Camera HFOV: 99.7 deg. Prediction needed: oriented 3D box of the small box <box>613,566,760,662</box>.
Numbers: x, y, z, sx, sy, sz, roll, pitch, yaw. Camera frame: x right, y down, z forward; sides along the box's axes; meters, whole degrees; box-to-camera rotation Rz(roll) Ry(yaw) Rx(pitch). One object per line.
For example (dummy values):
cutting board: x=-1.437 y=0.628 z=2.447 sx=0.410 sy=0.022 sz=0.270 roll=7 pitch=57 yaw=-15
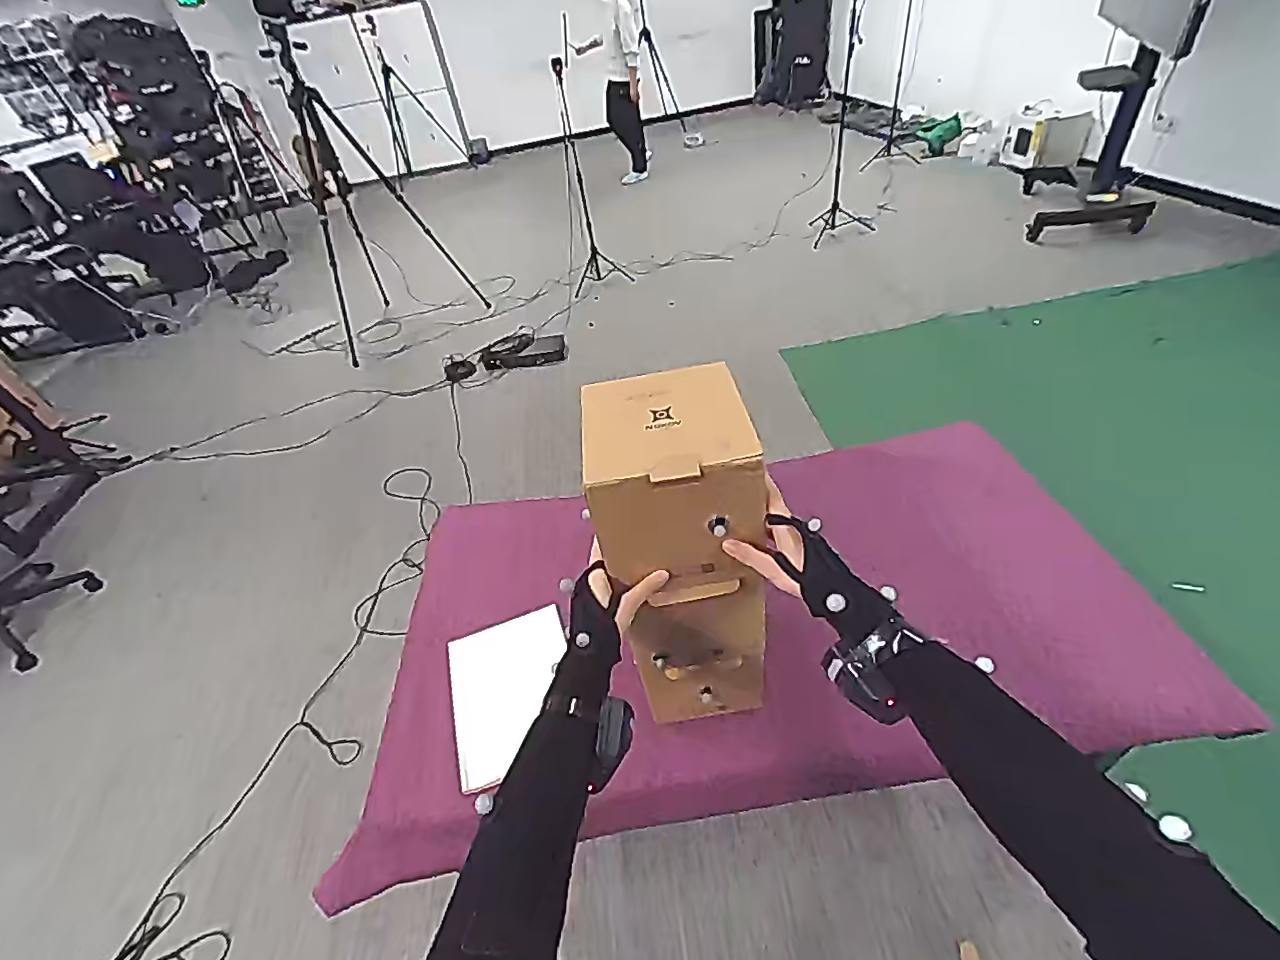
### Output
small box: x=0.058 y=0.119 z=0.707 sx=0.168 sy=0.176 sz=0.179 roll=-10 pitch=40 yaw=2

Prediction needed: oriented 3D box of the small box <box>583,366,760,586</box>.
small box: x=0.035 y=0.001 z=0.598 sx=0.168 sy=0.176 sz=0.179 roll=-9 pitch=40 yaw=2

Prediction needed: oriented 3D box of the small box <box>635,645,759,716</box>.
small box: x=0.081 y=0.238 z=0.819 sx=0.168 sy=0.176 sz=0.179 roll=-9 pitch=41 yaw=1
